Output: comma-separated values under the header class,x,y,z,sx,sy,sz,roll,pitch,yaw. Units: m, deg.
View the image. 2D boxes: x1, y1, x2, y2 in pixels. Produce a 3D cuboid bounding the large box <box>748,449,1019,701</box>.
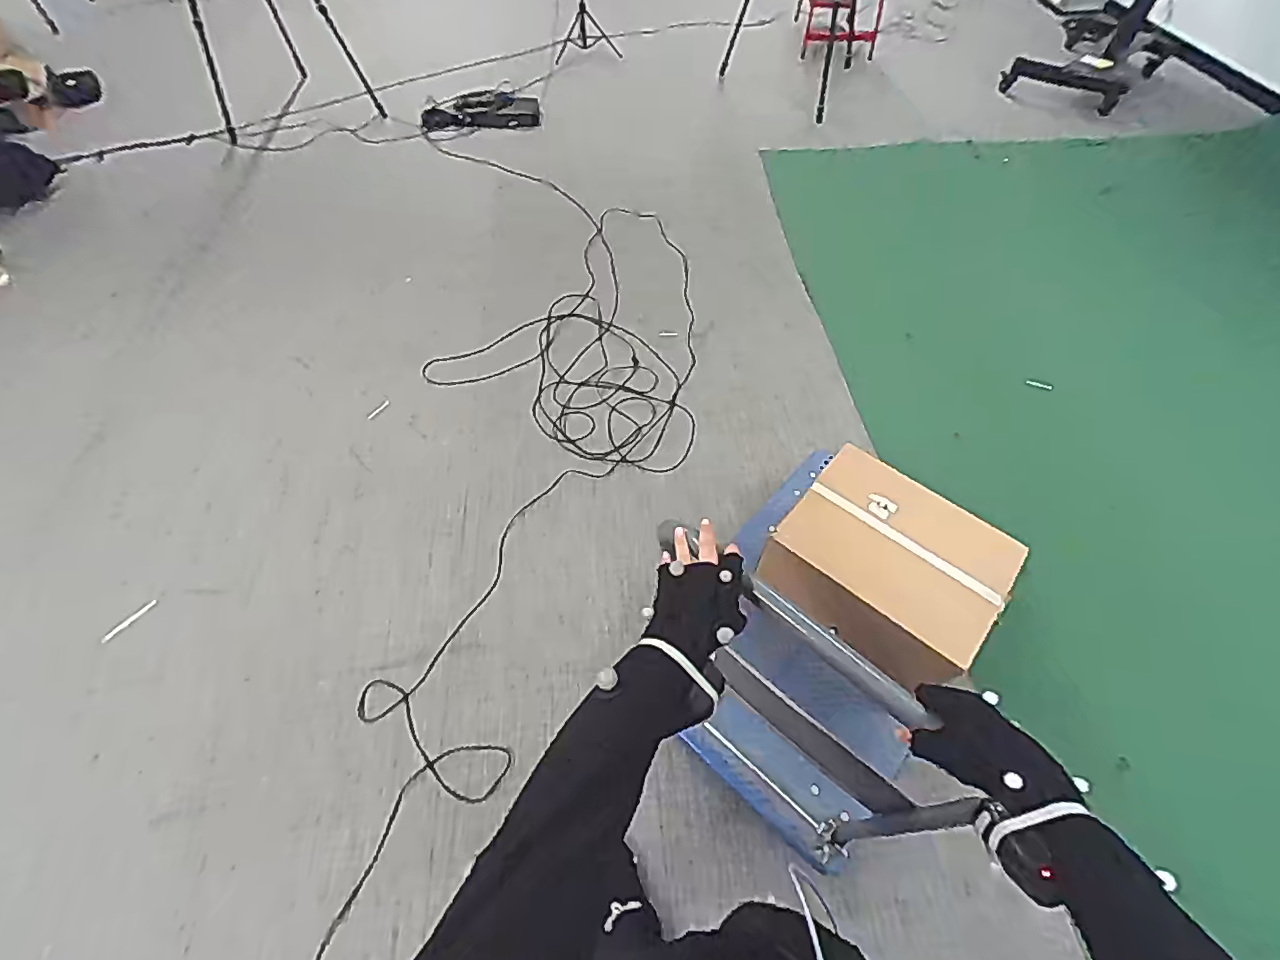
class,x,y,z,sx,sy,sz,roll,pitch,yaw
large box,0.509,0.212,1.201,0.408,0.320,0.320,35,63,22
